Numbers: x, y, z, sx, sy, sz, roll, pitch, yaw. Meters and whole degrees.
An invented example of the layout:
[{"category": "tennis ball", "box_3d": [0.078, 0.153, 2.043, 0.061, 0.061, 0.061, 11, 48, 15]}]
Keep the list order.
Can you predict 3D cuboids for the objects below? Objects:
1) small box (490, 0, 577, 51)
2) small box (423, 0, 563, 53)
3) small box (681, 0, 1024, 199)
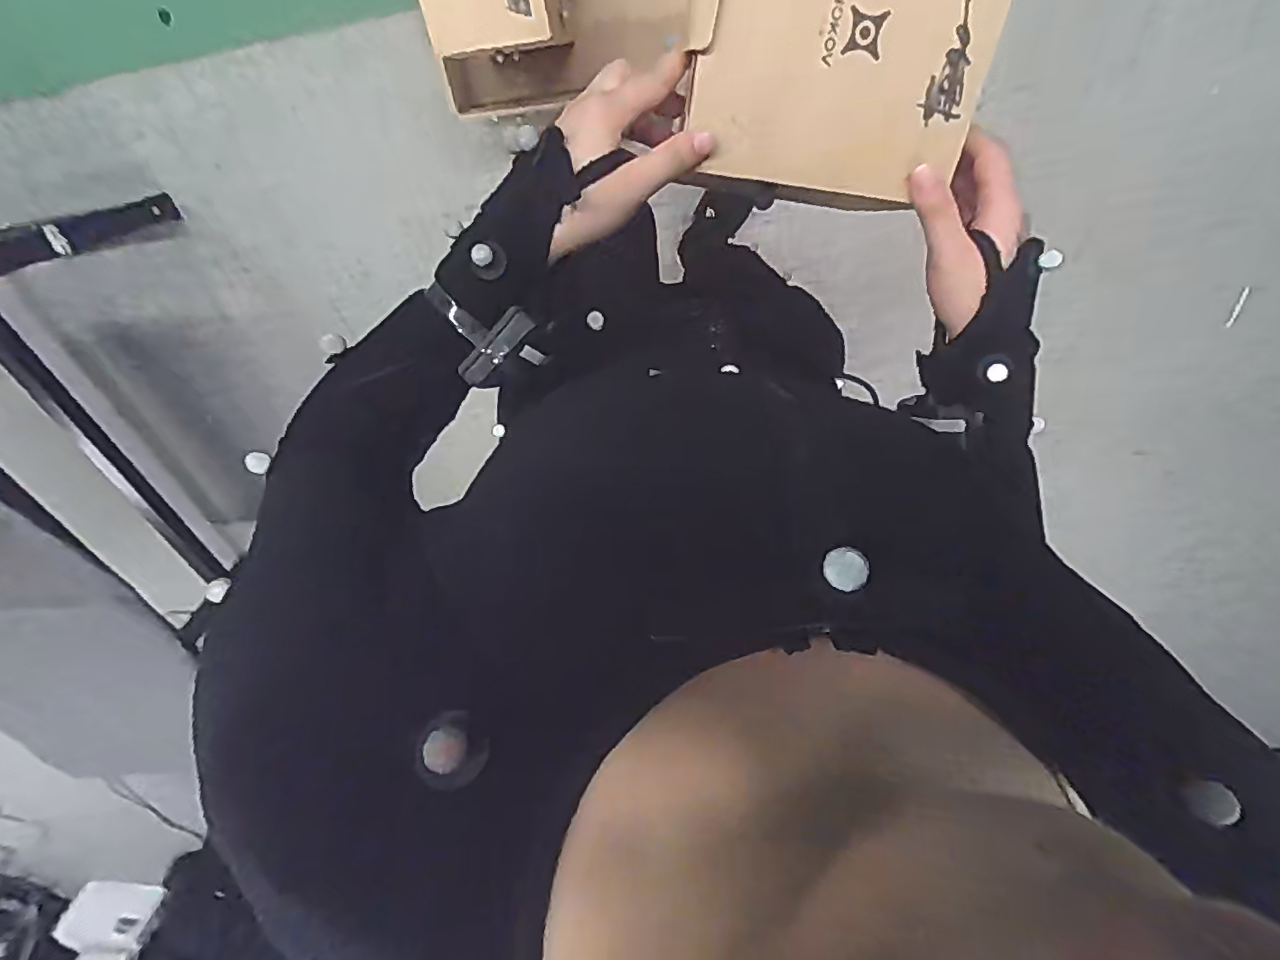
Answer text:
[{"category": "small box", "box_3d": [-0.212, -0.833, 0.904, 0.179, 0.176, 0.168, -6, 128, 4]}, {"category": "small box", "box_3d": [-0.212, -0.729, 0.777, 0.179, 0.176, 0.168, -5, 128, 5]}, {"category": "small box", "box_3d": [0.126, -0.297, 0.374, 0.179, 0.176, 0.168, 7, 117, -3]}]
